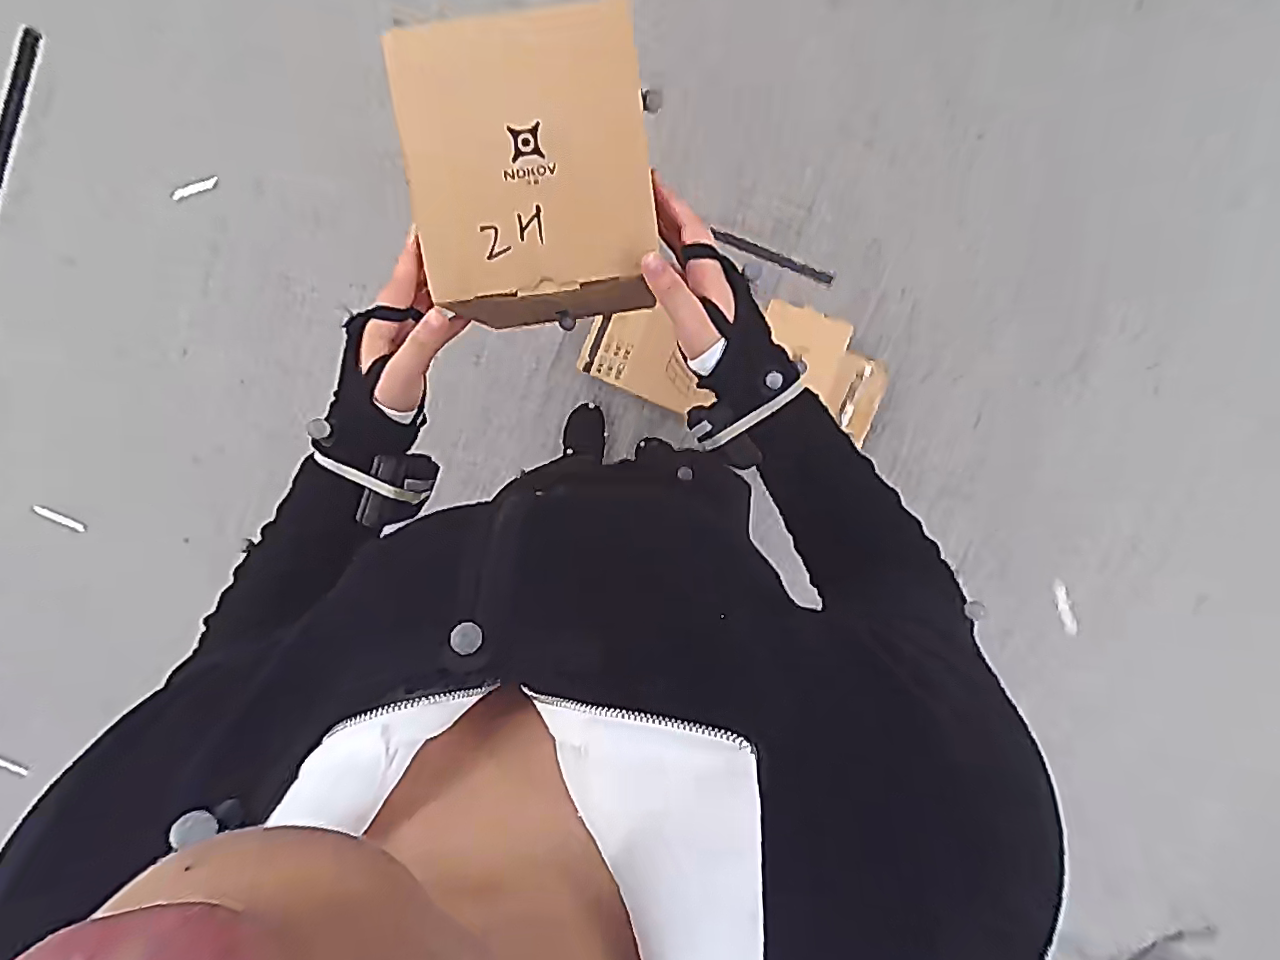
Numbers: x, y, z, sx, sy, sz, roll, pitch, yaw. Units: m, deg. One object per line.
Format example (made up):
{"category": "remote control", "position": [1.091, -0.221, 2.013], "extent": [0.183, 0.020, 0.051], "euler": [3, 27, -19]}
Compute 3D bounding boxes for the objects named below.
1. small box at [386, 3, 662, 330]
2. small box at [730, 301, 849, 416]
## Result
{"category": "small box", "position": [-0.077, -0.230, 0.445], "extent": [0.168, 0.176, 0.179], "euler": [-8, 100, 1]}
{"category": "small box", "position": [0.293, -0.239, 1.102], "extent": [0.168, 0.176, 0.179], "euler": [19, 96, 0]}
